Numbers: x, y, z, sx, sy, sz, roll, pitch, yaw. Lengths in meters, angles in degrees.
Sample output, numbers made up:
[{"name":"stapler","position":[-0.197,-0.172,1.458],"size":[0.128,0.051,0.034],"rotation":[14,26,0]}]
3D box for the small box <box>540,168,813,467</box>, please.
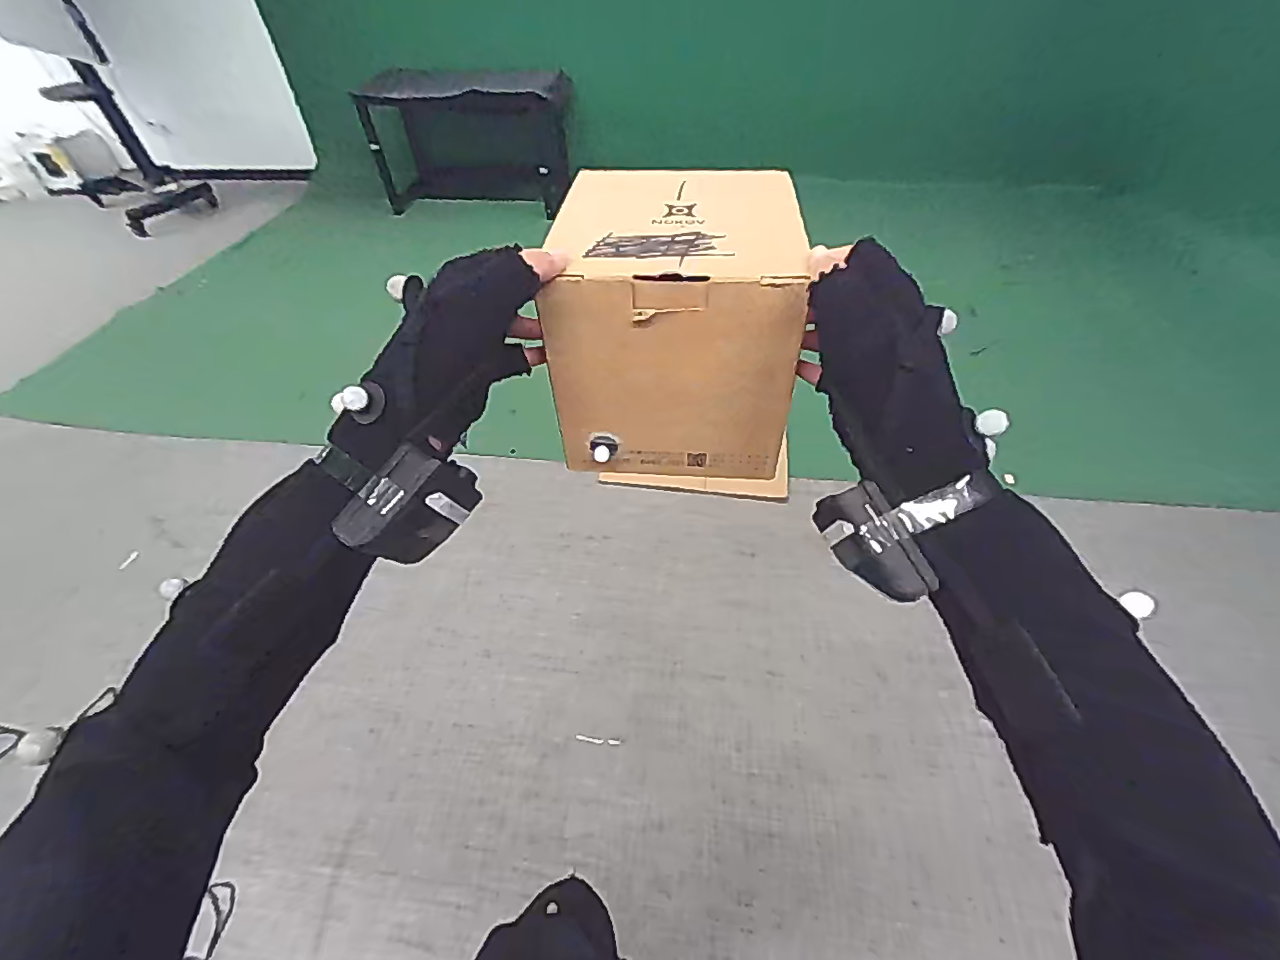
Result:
[{"name":"small box","position":[0.031,-0.127,0.429],"size":[0.168,0.176,0.179],"rotation":[3,46,5]}]
